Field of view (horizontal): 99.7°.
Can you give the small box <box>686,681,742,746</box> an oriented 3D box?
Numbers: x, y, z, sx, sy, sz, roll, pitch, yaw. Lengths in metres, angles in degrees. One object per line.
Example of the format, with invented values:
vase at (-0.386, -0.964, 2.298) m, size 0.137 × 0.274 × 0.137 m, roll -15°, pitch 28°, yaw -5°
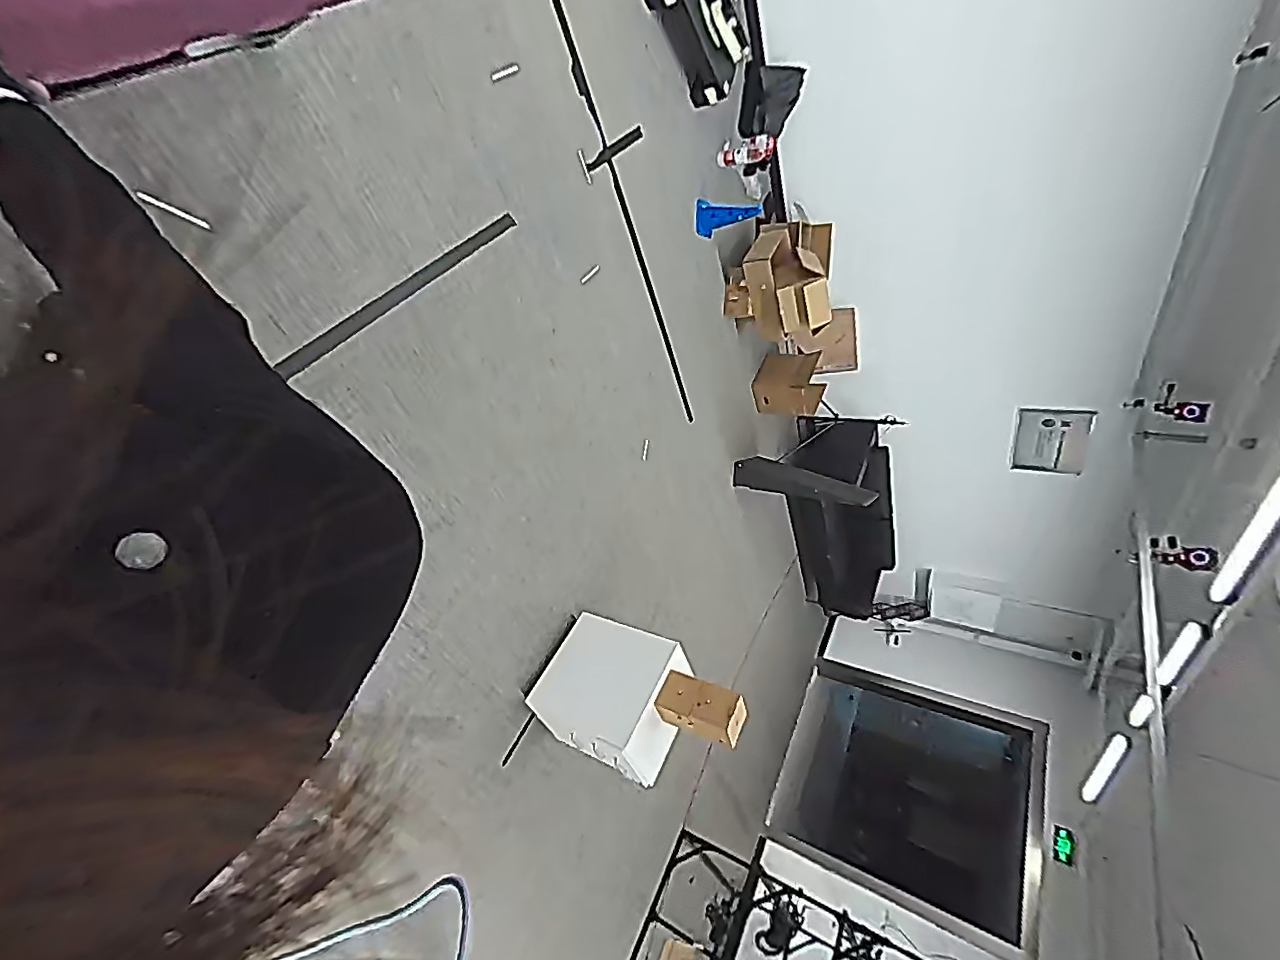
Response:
small box at (0.311, 0.978, 2.274) m, size 0.168 × 0.176 × 0.179 m, roll -54°, pitch 140°, yaw -37°
